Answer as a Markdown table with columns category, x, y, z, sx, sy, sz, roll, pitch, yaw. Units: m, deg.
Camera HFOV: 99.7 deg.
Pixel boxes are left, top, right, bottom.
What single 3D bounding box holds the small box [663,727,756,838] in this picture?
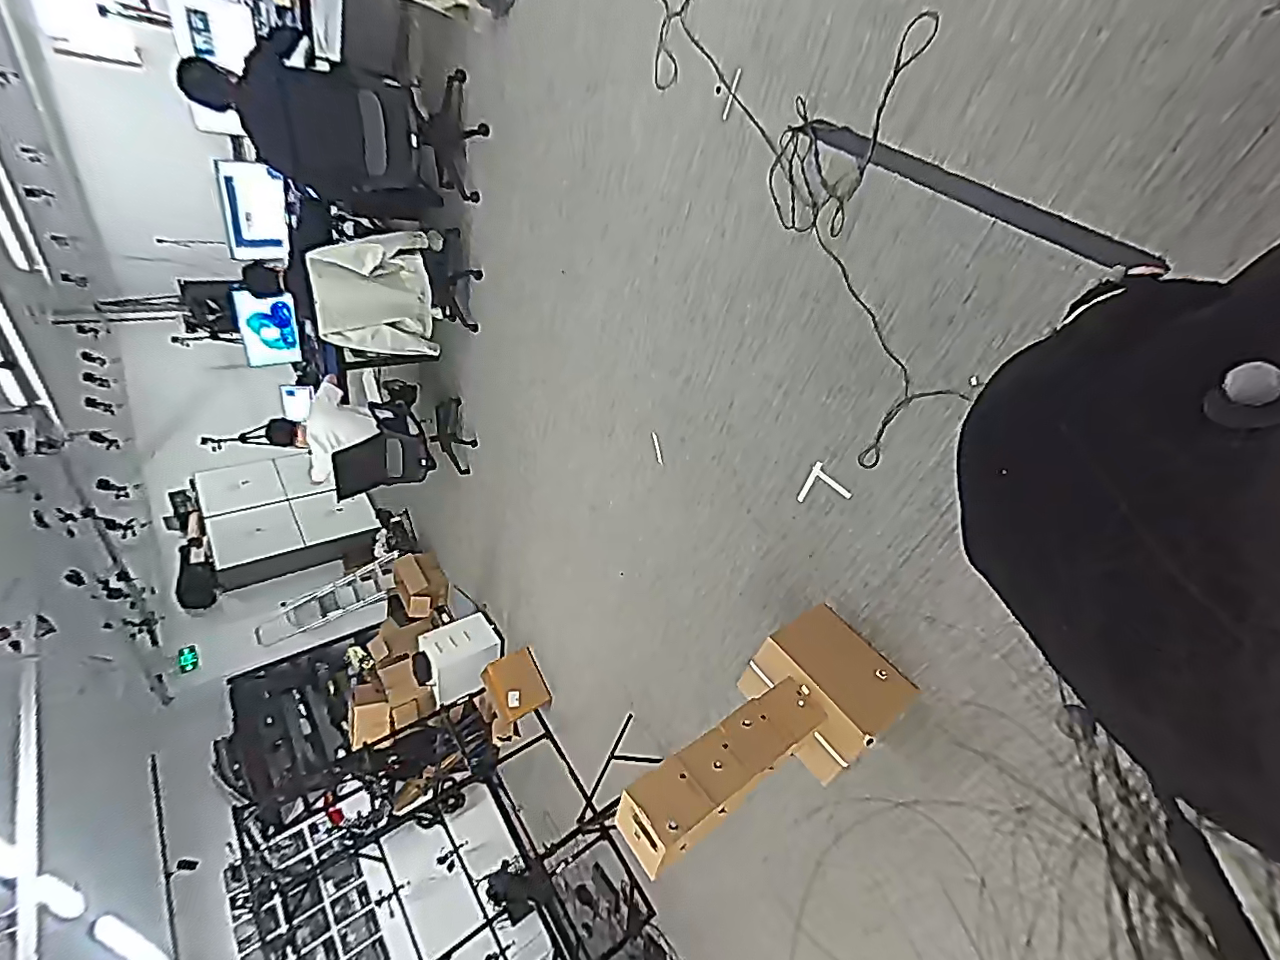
| category | x | y | z | sx | sy | sz | roll | pitch | yaw |
| --- | --- | --- | --- | --- | --- | --- | --- | --- | --- |
| small box | 0.191 | 0.817 | 1.477 | 0.168 | 0.176 | 0.179 | 41 | 133 | 38 |

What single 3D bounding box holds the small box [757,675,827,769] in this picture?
| category | x | y | z | sx | sy | sz | roll | pitch | yaw |
| --- | --- | --- | --- | --- | --- | --- | --- | --- | --- |
| small box | 0.444 | 0.742 | 1.671 | 0.168 | 0.176 | 0.179 | 45 | 135 | 33 |

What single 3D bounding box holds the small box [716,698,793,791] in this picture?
| category | x | y | z | sx | sy | sz | roll | pitch | yaw |
| --- | --- | --- | --- | --- | --- | --- | --- | --- | --- |
| small box | 0.317 | 0.773 | 1.575 | 0.168 | 0.176 | 0.179 | 45 | 136 | 35 |
